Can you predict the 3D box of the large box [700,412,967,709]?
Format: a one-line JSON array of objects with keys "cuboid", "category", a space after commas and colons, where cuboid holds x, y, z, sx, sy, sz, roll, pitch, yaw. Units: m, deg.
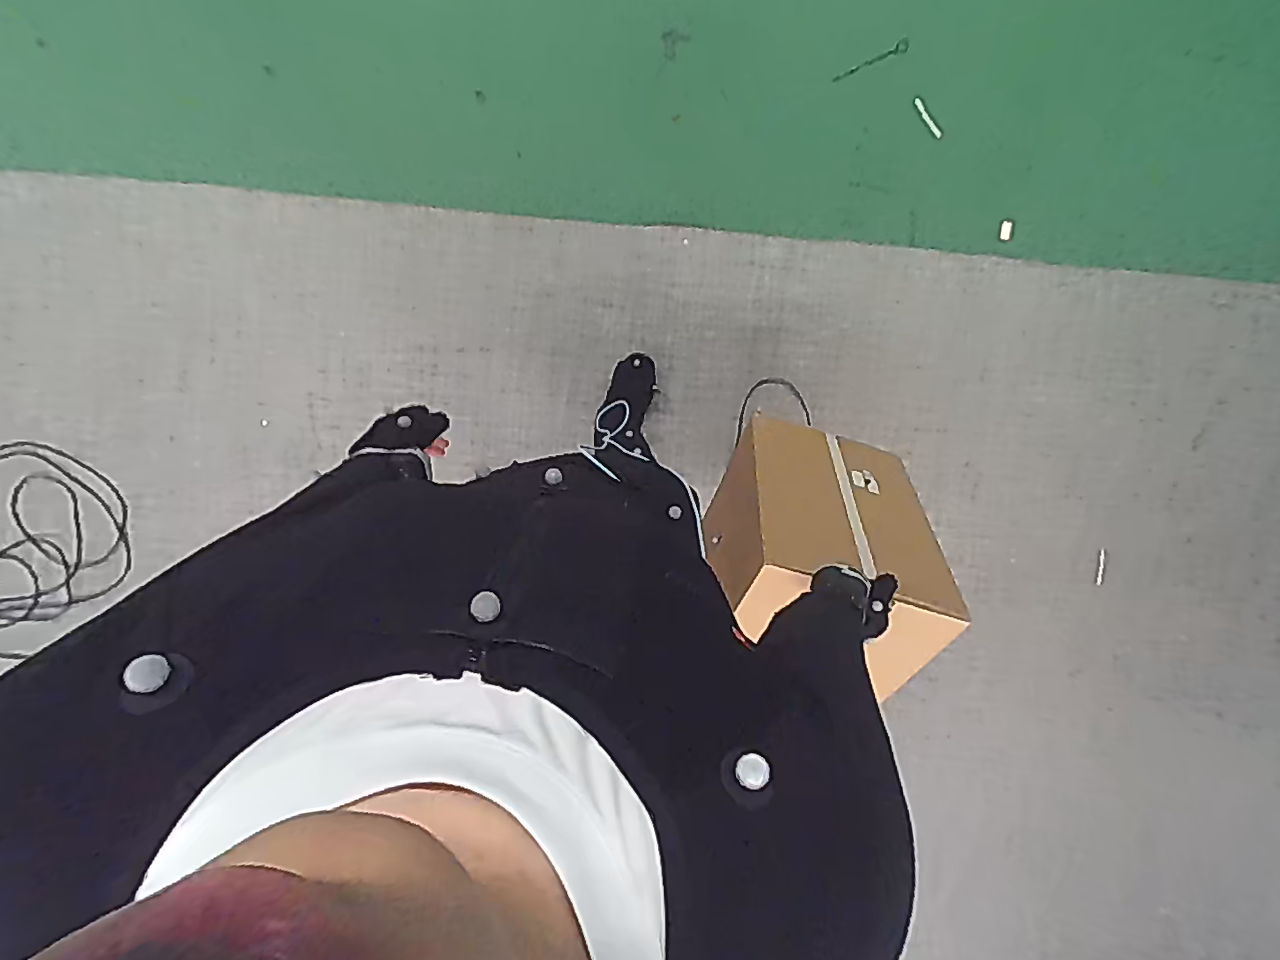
[{"cuboid": [0.306, 0.139, 1.003, 0.320, 0.408, 0.320, 17, 128, -4], "category": "large box"}]
